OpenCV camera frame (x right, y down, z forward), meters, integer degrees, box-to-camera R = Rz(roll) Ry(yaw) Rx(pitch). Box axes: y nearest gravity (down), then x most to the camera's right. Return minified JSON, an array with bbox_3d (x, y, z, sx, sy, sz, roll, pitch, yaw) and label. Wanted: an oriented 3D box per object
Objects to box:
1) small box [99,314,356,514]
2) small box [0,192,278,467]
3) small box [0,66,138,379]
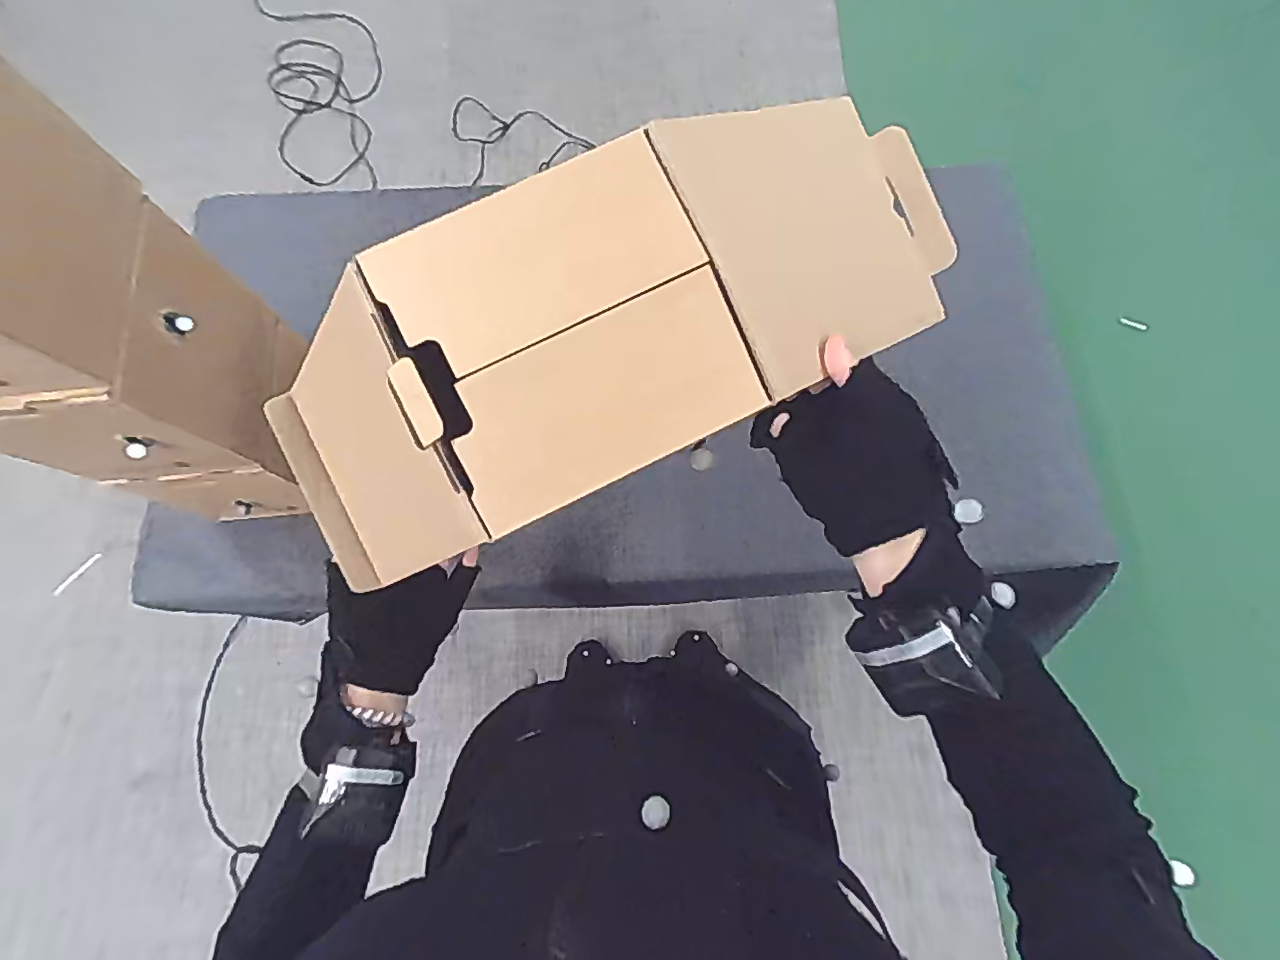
[{"bbox_3d":[-0.455,-0.068,0.631,0.168,0.176,0.179,-5,75,-1],"label":"small box"},{"bbox_3d":[-0.454,-0.114,0.475,0.168,0.176,0.179,-4,74,-2],"label":"small box"},{"bbox_3d":[-0.455,-0.166,0.319,0.168,0.176,0.179,-6,74,-3],"label":"small box"}]
